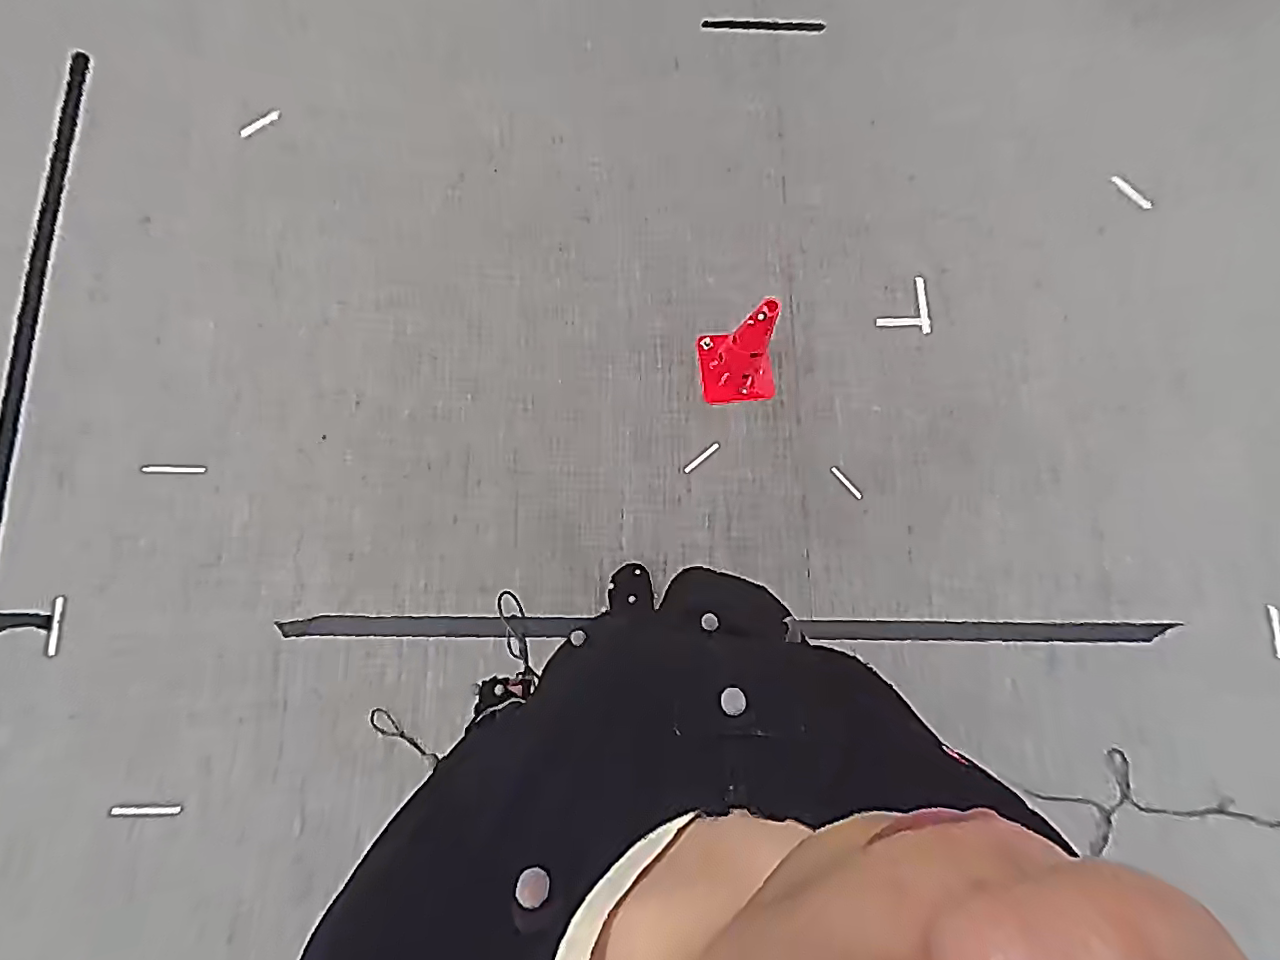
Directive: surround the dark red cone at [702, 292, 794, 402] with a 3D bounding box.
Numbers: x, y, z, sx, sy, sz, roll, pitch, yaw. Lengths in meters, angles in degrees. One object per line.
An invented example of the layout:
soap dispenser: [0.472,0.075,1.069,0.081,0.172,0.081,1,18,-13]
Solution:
dark red cone: [0.279,-0.335,1.282,0.202,0.394,0.201,-7,82,-4]
